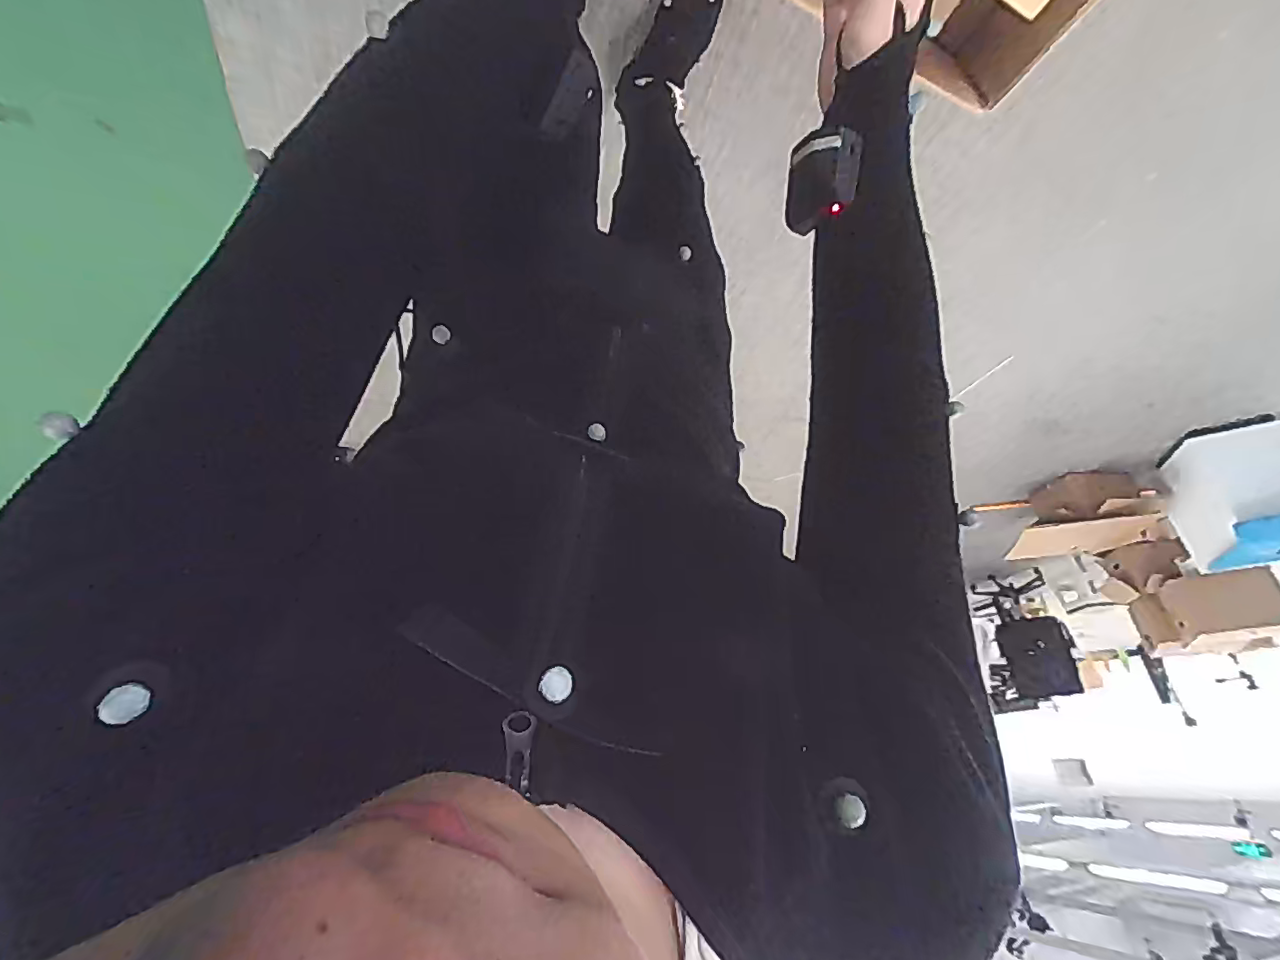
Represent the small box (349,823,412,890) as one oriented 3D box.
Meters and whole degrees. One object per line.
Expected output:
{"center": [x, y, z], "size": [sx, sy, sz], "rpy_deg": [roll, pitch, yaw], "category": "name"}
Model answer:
{"center": [-0.914, 1.328, 1.921], "size": [0.179, 0.176, 0.168], "rpy_deg": [6, 152, -17], "category": "small box"}
